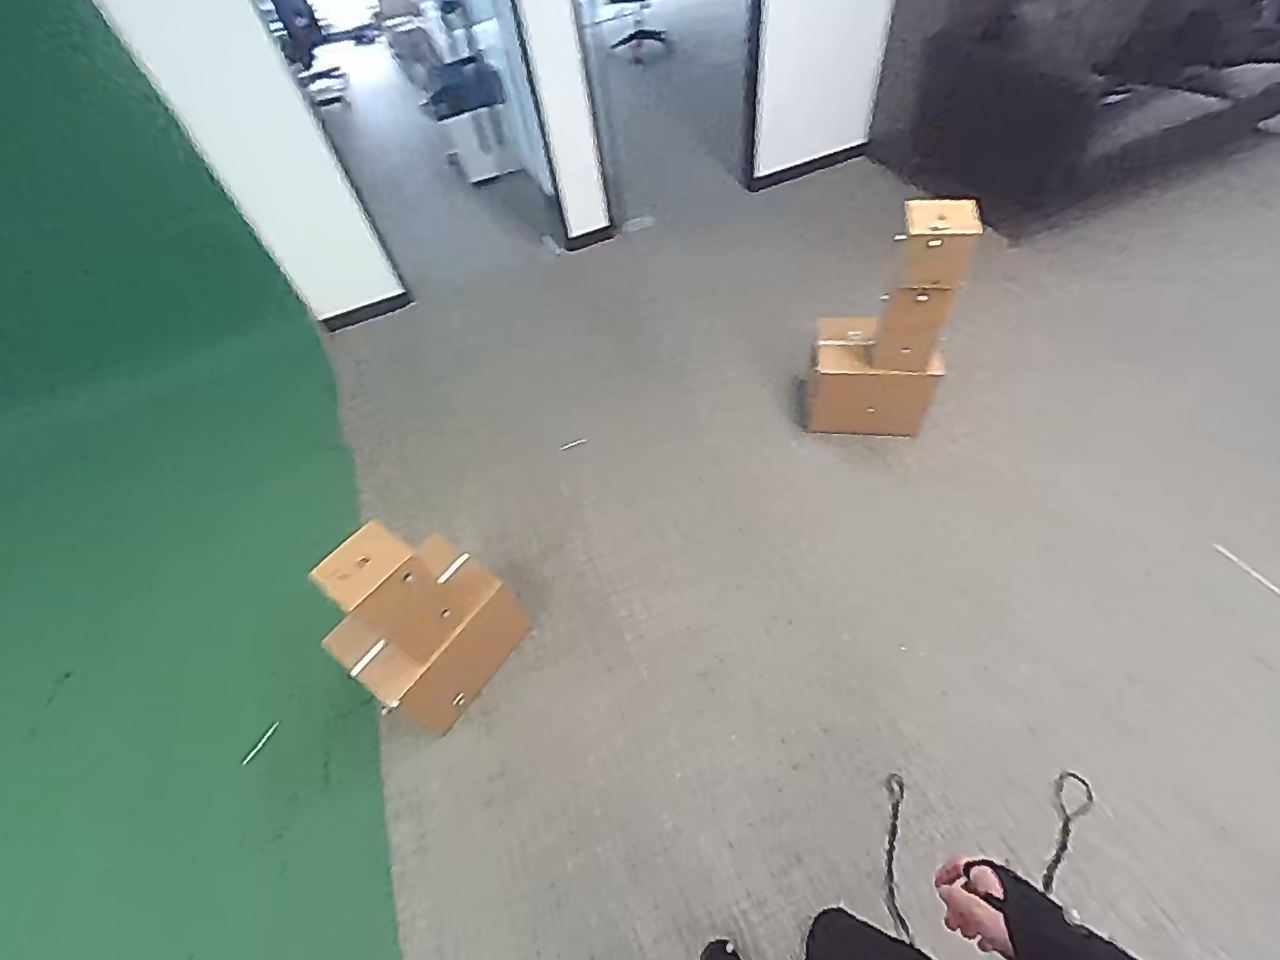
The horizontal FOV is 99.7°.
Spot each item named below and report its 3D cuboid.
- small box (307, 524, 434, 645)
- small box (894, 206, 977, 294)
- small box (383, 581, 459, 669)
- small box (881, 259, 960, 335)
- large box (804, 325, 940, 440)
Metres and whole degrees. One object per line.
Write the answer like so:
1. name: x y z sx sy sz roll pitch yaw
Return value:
1. small box: -0.600 0.240 1.233 0.168 0.176 0.179 28 60 27
2. small box: 0.829 -0.653 1.535 0.168 0.176 0.179 6 53 15
3. small box: -0.583 0.340 1.362 0.168 0.176 0.179 27 60 25
4. small box: 0.859 -0.564 1.671 0.179 0.176 0.168 5 54 13
5. large box: 0.847 -0.364 2.037 0.408 0.320 0.320 2 51 11
